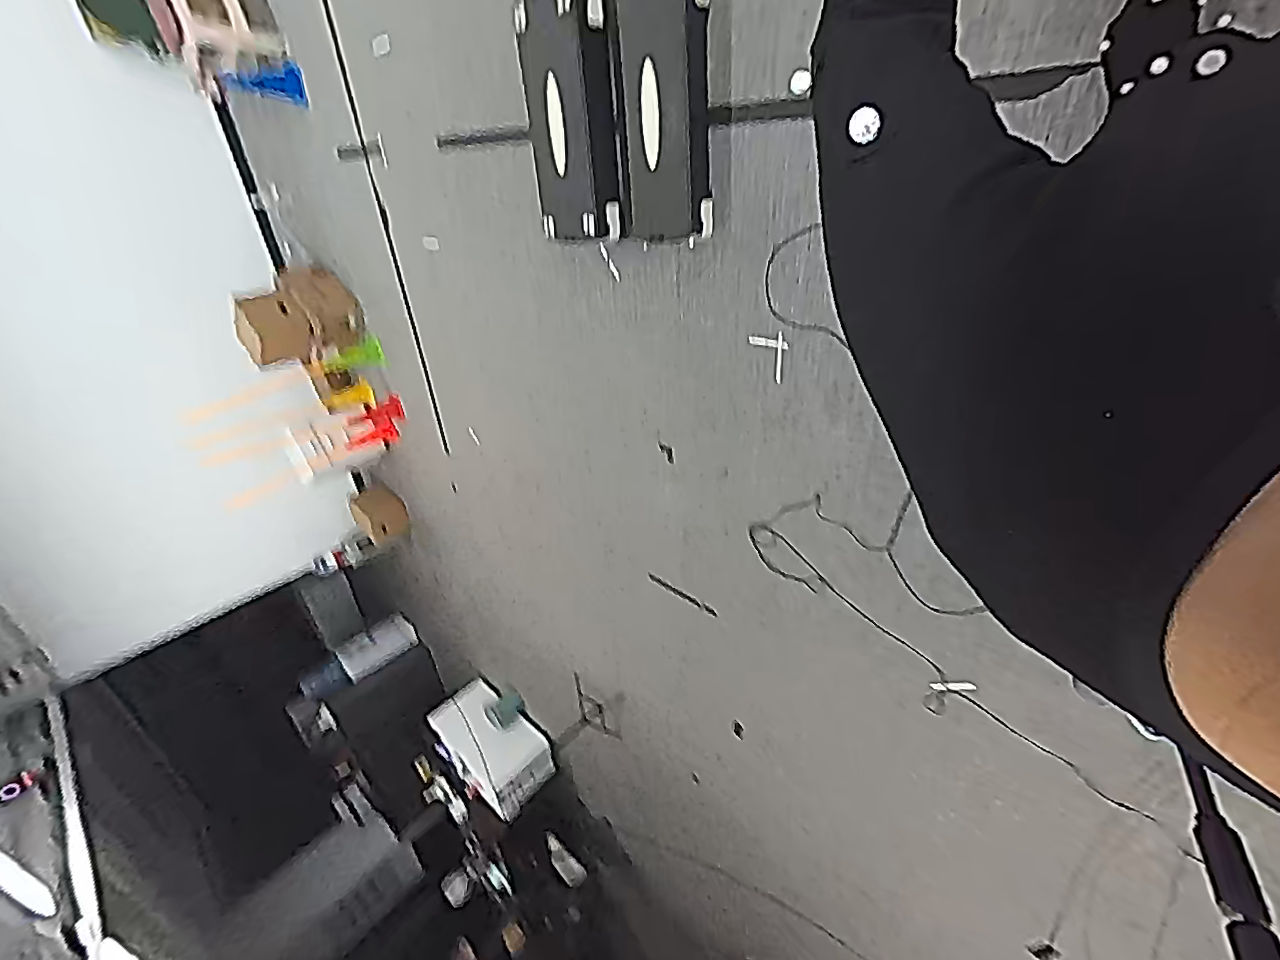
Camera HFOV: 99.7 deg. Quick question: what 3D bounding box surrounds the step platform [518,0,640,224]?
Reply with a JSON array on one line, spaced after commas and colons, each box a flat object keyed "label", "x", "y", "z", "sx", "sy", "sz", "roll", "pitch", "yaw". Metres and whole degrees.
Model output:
[{"label": "step platform", "x": -0.186, "y": -1.176, "z": 1.687, "sx": 0.286, "sy": 0.204, "sz": 0.684, "roll": 21, "pitch": 127, "yaw": 38}]
